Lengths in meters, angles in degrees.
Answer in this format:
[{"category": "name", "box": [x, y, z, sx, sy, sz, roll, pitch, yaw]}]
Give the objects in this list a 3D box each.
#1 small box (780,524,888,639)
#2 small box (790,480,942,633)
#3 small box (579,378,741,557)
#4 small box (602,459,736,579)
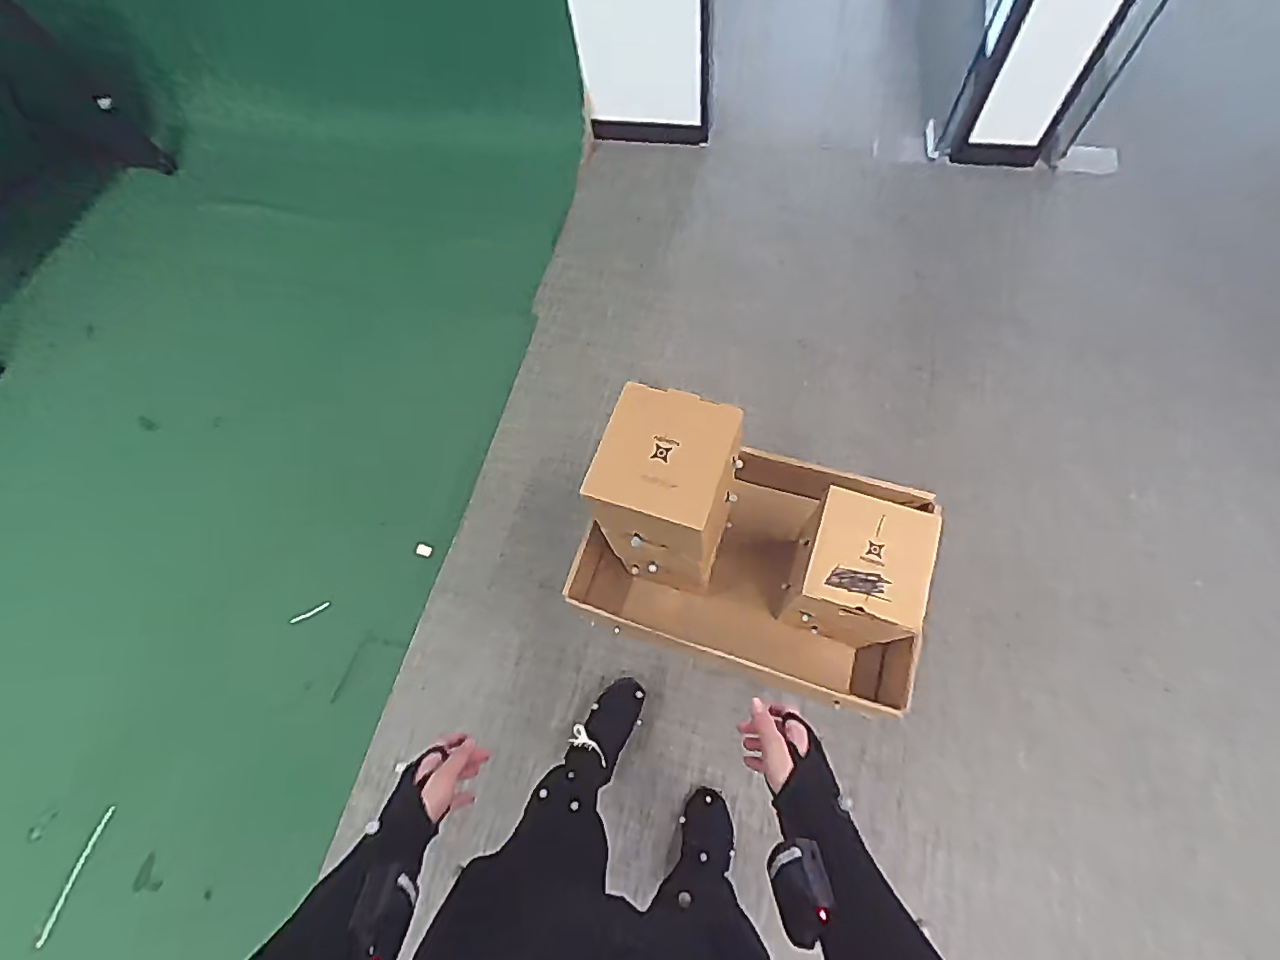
[{"category": "small box", "box": [0.365, 0.181, 0.999, 0.168, 0.176, 0.179, 15, 72, 12]}, {"category": "small box", "box": [0.341, 0.127, 0.845, 0.168, 0.176, 0.179, 16, 72, 12]}, {"category": "small box", "box": [0.035, -0.011, 0.761, 0.168, 0.176, 0.179, 16, 71, 14]}, {"category": "small box", "box": [0.054, 0.048, 0.912, 0.168, 0.176, 0.179, 17, 72, 14]}]
